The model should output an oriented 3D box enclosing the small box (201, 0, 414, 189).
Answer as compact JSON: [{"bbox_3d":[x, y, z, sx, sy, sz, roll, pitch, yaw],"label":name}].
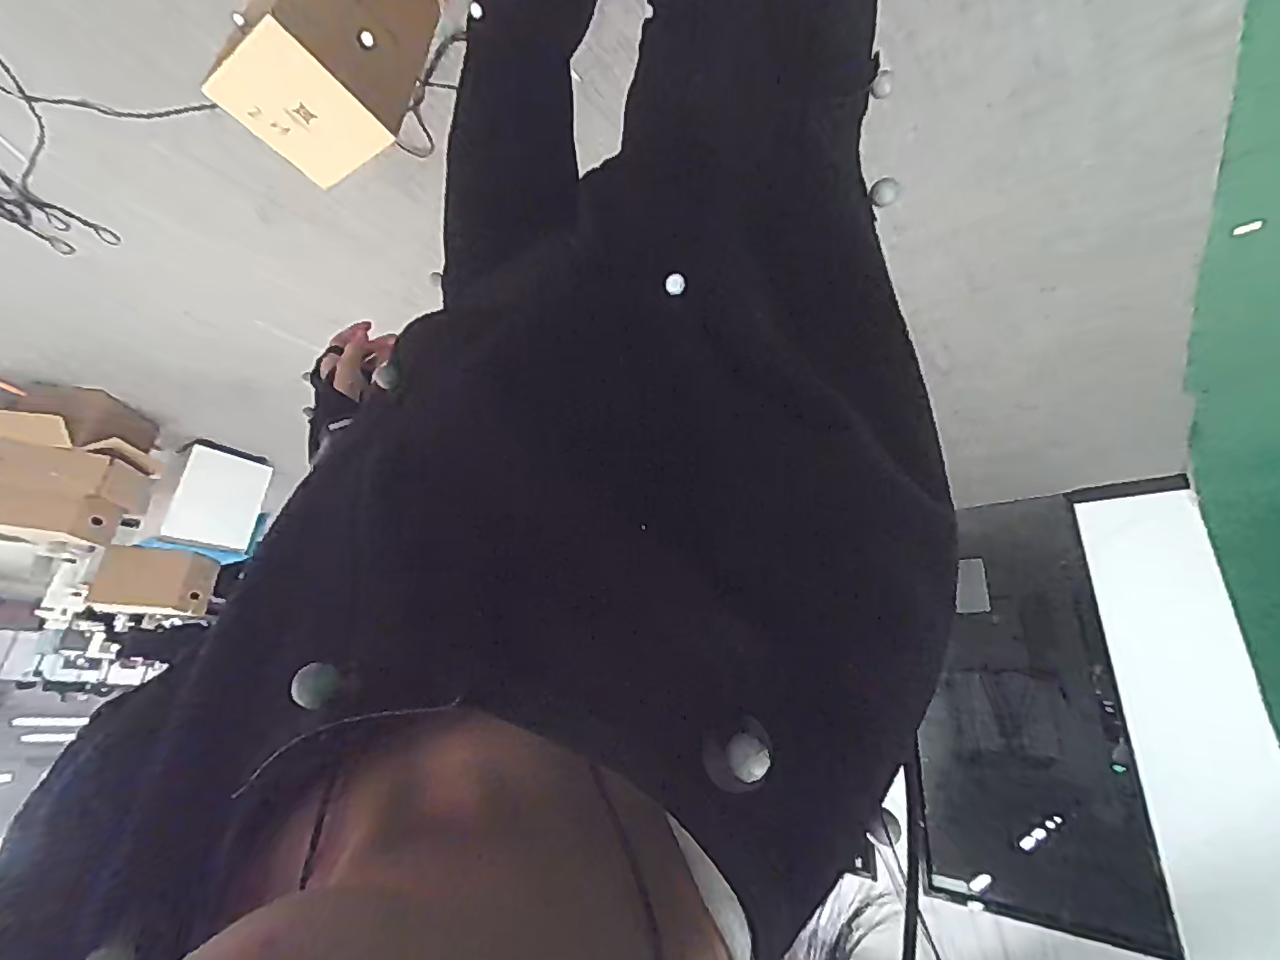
[{"bbox_3d":[-0.429,-0.543,0.723,0.179,0.176,0.168,-8,155,30],"label":"small box"}]
